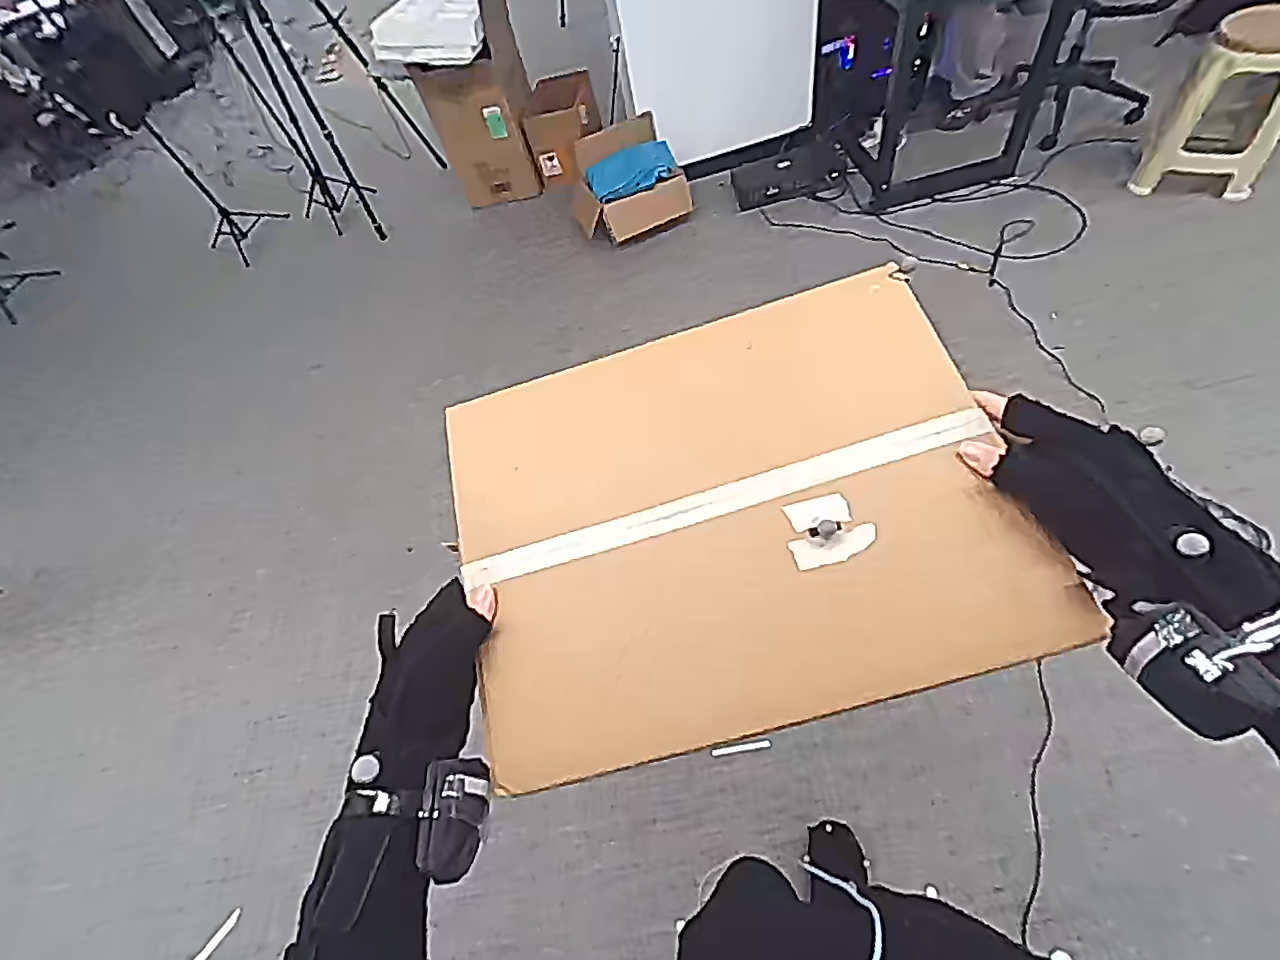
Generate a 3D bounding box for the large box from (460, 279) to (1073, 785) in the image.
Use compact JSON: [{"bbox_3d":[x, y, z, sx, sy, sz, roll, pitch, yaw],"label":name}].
[{"bbox_3d":[0.085,0.073,0.559,0.408,0.320,0.320,-18,68,4],"label":"large box"}]
